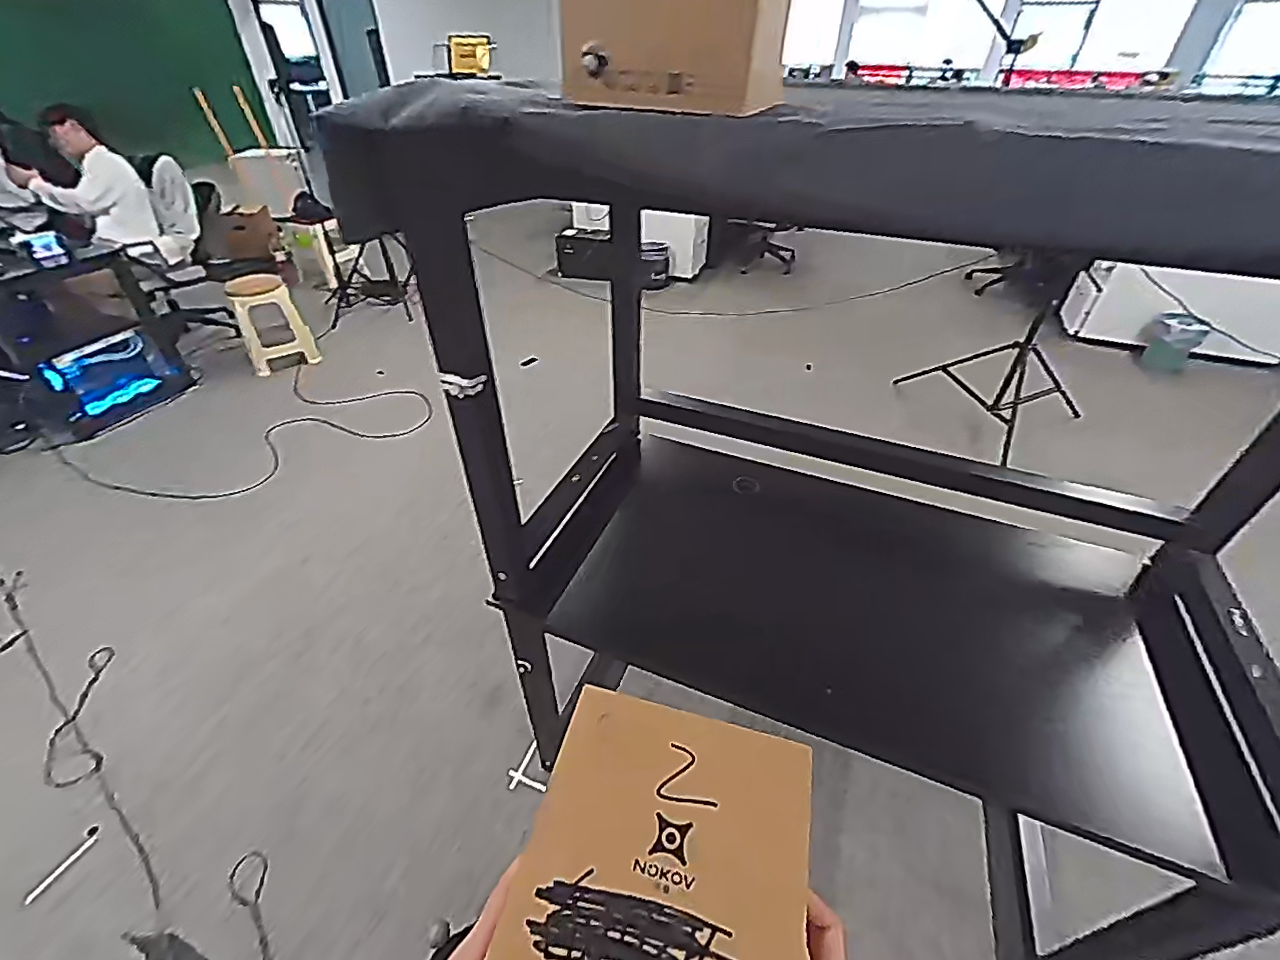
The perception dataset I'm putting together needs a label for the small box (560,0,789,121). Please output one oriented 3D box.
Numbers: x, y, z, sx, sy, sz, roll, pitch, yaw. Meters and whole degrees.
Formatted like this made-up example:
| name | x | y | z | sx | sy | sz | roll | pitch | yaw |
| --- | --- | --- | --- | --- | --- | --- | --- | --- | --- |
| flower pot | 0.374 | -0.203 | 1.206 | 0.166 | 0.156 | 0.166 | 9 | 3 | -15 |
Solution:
| name | x | y | z | sx | sy | sz | roll | pitch | yaw |
| --- | --- | --- | --- | --- | --- | --- | --- | --- | --- |
| small box | 0.038 | -0.420 | 0.470 | 0.168 | 0.176 | 0.179 | 14 | 39 | 14 |
